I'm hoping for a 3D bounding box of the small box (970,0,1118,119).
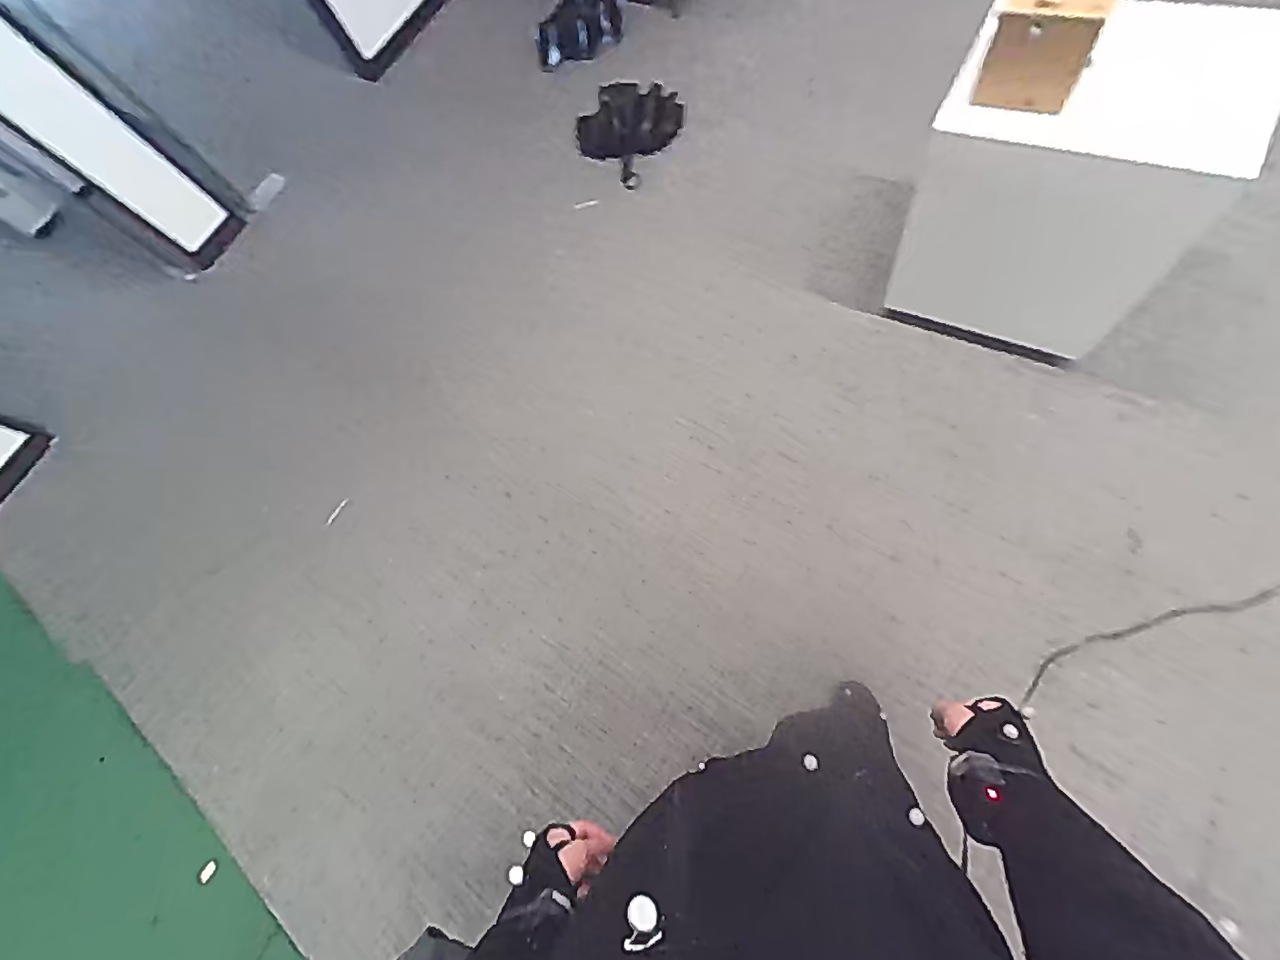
[{"bbox_3d":[0.730,-0.800,0.976,0.168,0.176,0.179,23,76,21],"label":"small box"}]
